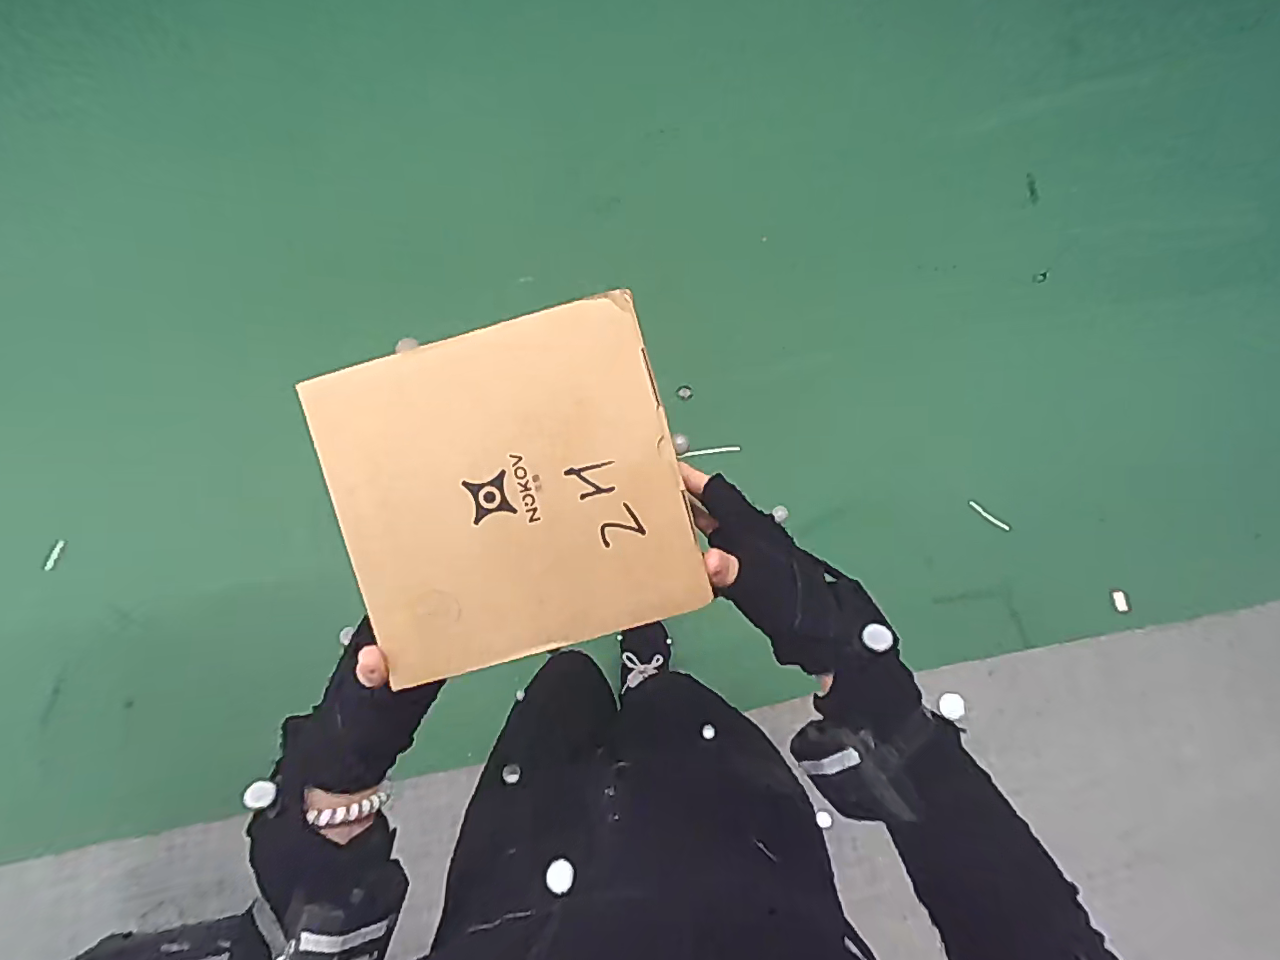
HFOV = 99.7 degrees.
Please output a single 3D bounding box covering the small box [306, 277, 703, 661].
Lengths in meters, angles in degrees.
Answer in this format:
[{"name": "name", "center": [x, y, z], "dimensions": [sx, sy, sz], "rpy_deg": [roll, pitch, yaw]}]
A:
[{"name": "small box", "center": [-0.067, -0.007, 0.358], "dimensions": [0.179, 0.176, 0.168], "rpy_deg": [-16, 93, 1]}]
